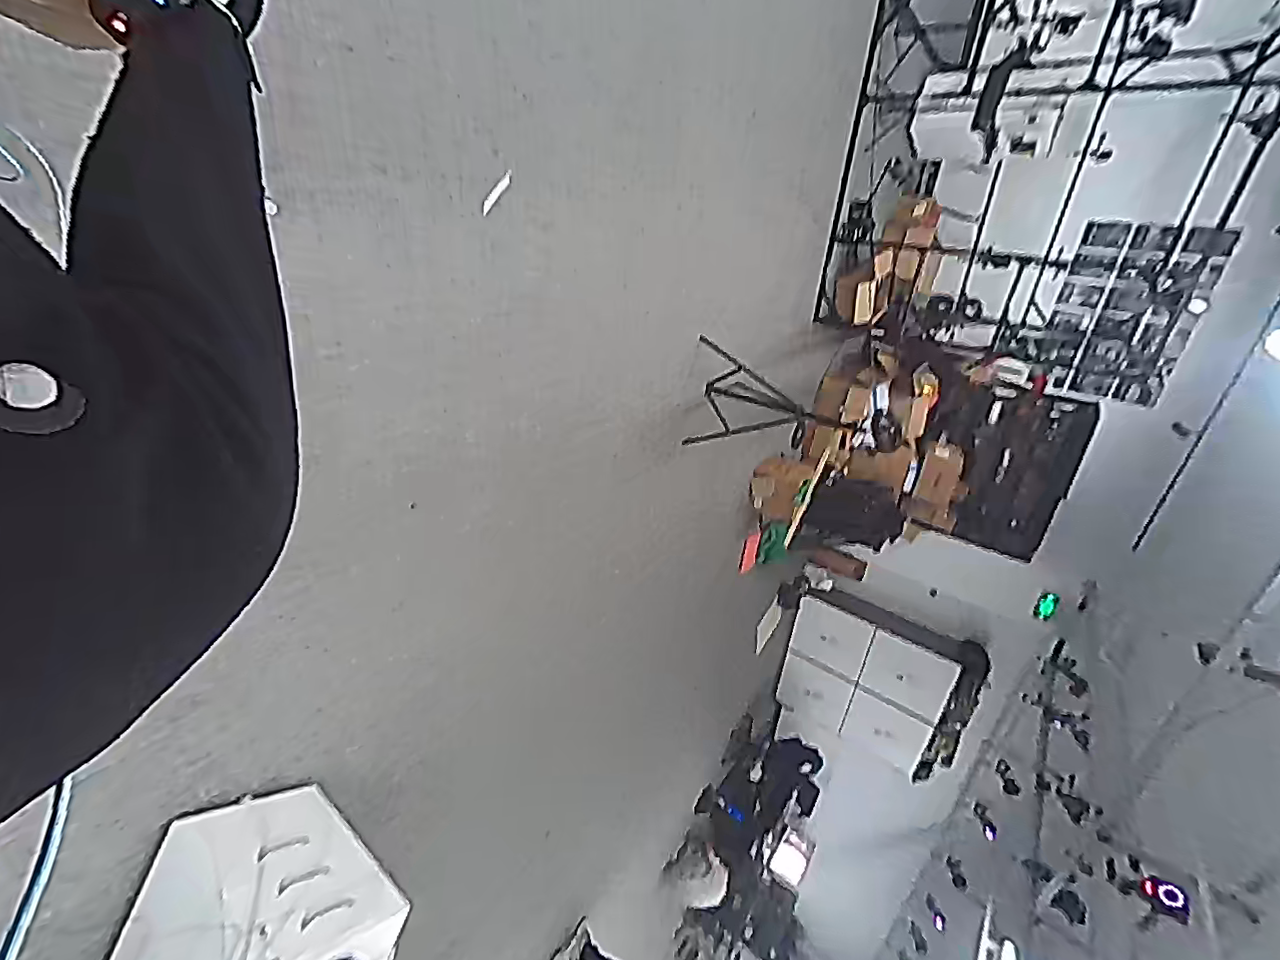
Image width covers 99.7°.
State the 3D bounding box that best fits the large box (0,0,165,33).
[{"bbox_3d":[-0.576,-0.571,0.328,0.408,0.320,0.320,1,114,-58],"label":"large box"}]
